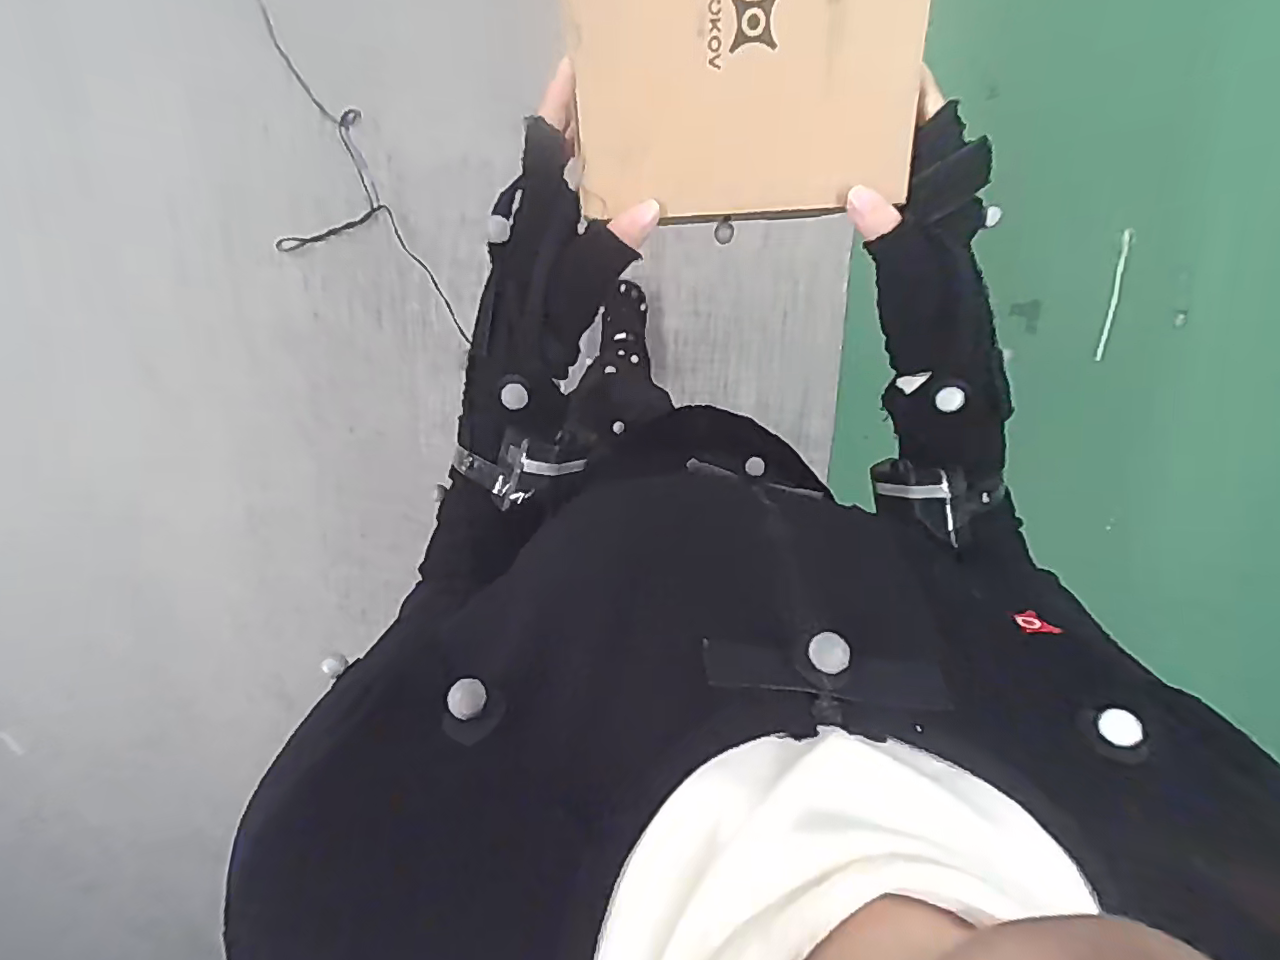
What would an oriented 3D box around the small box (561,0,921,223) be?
[{"bbox_3d":[0.050,-0.256,0.336,0.179,0.176,0.168,-3,115,2],"label":"small box"}]
